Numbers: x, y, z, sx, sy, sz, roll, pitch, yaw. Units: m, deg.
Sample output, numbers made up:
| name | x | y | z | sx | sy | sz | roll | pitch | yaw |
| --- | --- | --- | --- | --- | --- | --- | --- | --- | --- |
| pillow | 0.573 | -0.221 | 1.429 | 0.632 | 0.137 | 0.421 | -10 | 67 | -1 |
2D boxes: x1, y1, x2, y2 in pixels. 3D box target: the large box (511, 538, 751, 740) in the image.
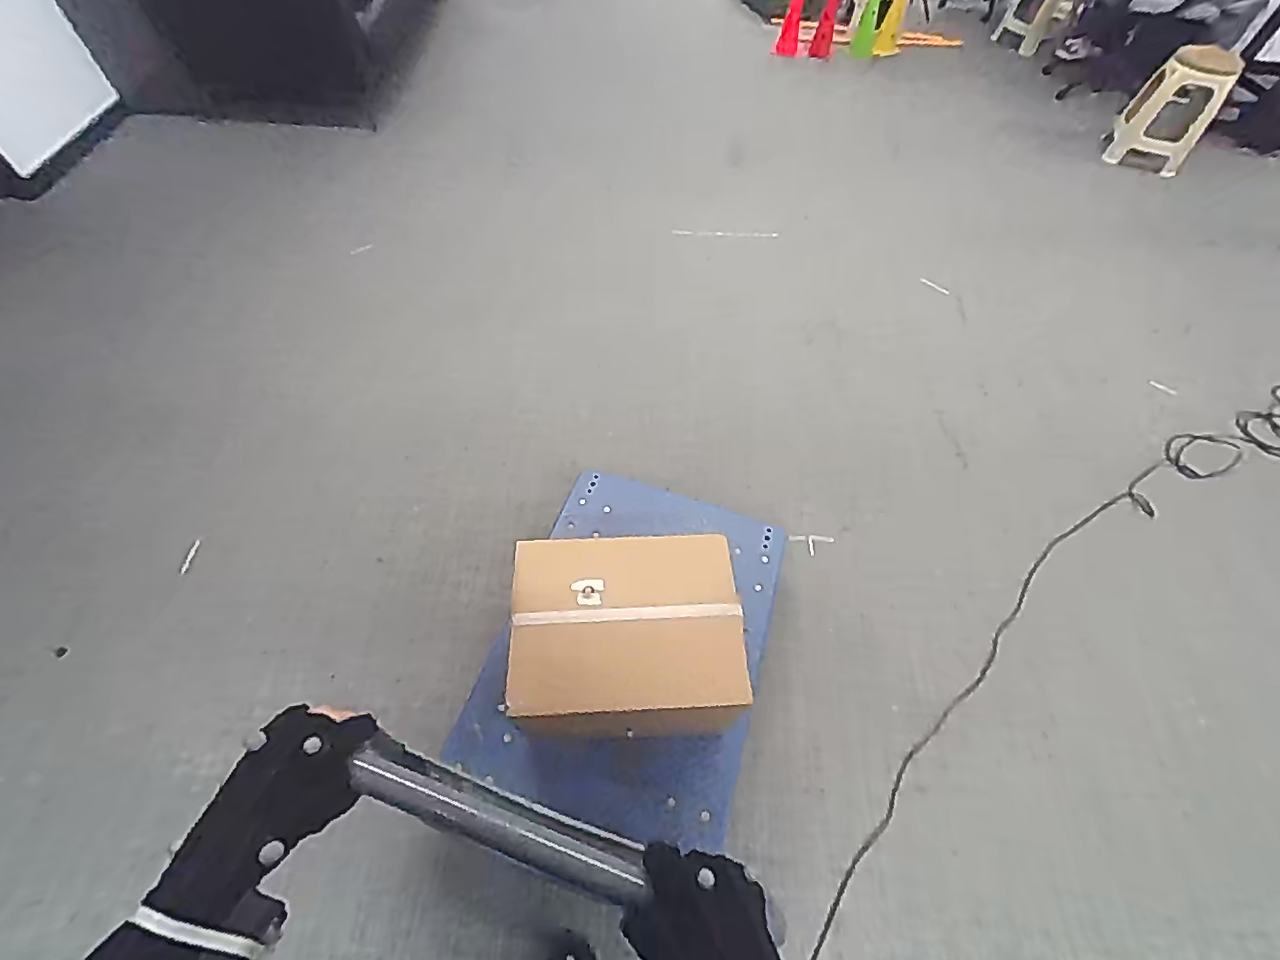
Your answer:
| name | x | y | z | sx | sy | sz | roll | pitch | yaw |
| --- | --- | --- | --- | --- | --- | --- | --- | --- | --- |
| large box | -0.024 | 0.330 | 1.090 | 0.408 | 0.320 | 0.320 | -2 | 57 | -3 |
